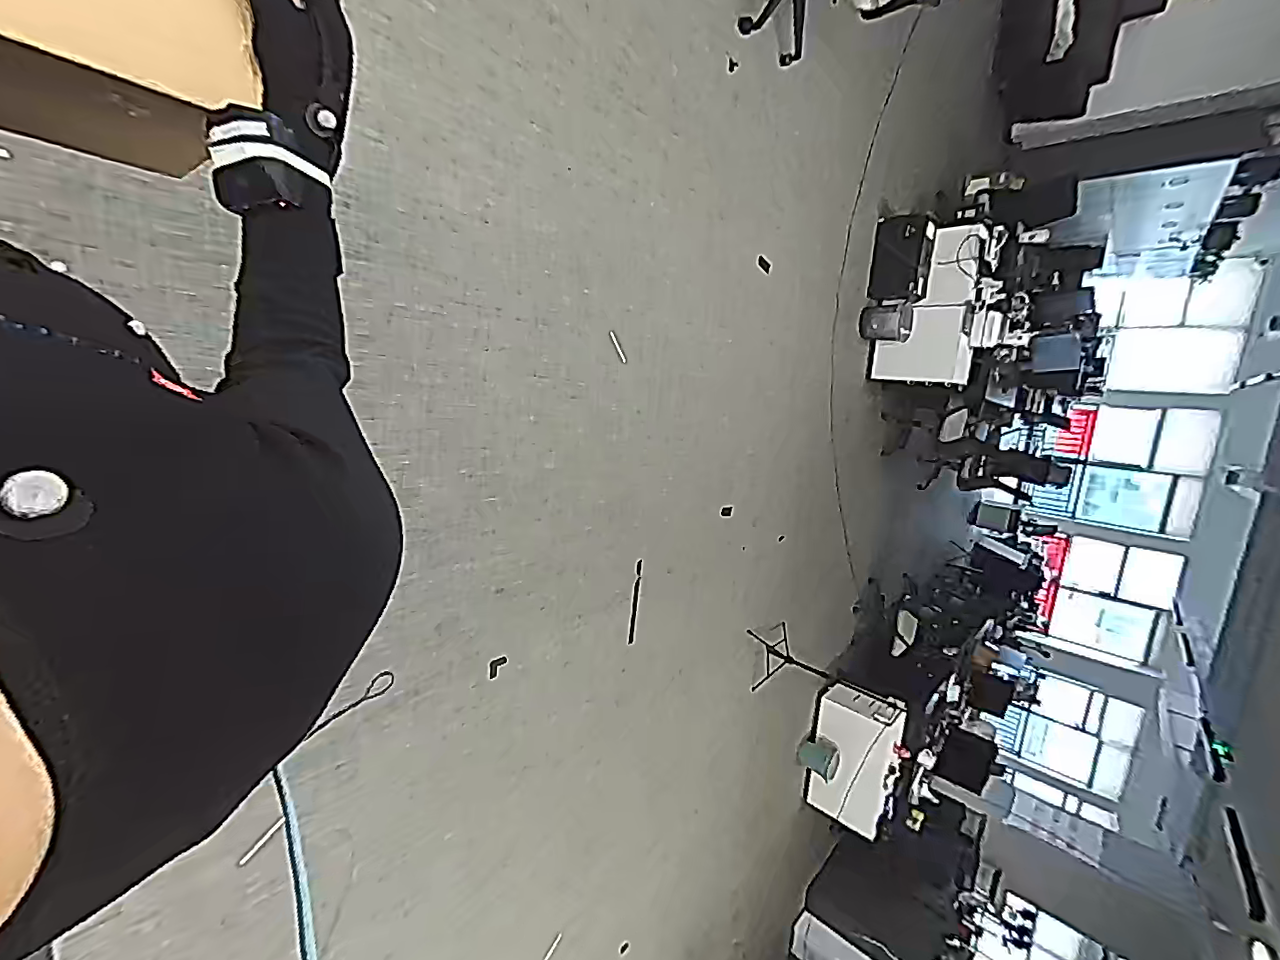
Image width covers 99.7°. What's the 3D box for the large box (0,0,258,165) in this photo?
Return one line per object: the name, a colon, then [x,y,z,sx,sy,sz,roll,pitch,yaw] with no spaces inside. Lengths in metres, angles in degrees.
large box: [-0.527,-0.450,0.340,0.408,0.320,0.320,-6,109,-49]
